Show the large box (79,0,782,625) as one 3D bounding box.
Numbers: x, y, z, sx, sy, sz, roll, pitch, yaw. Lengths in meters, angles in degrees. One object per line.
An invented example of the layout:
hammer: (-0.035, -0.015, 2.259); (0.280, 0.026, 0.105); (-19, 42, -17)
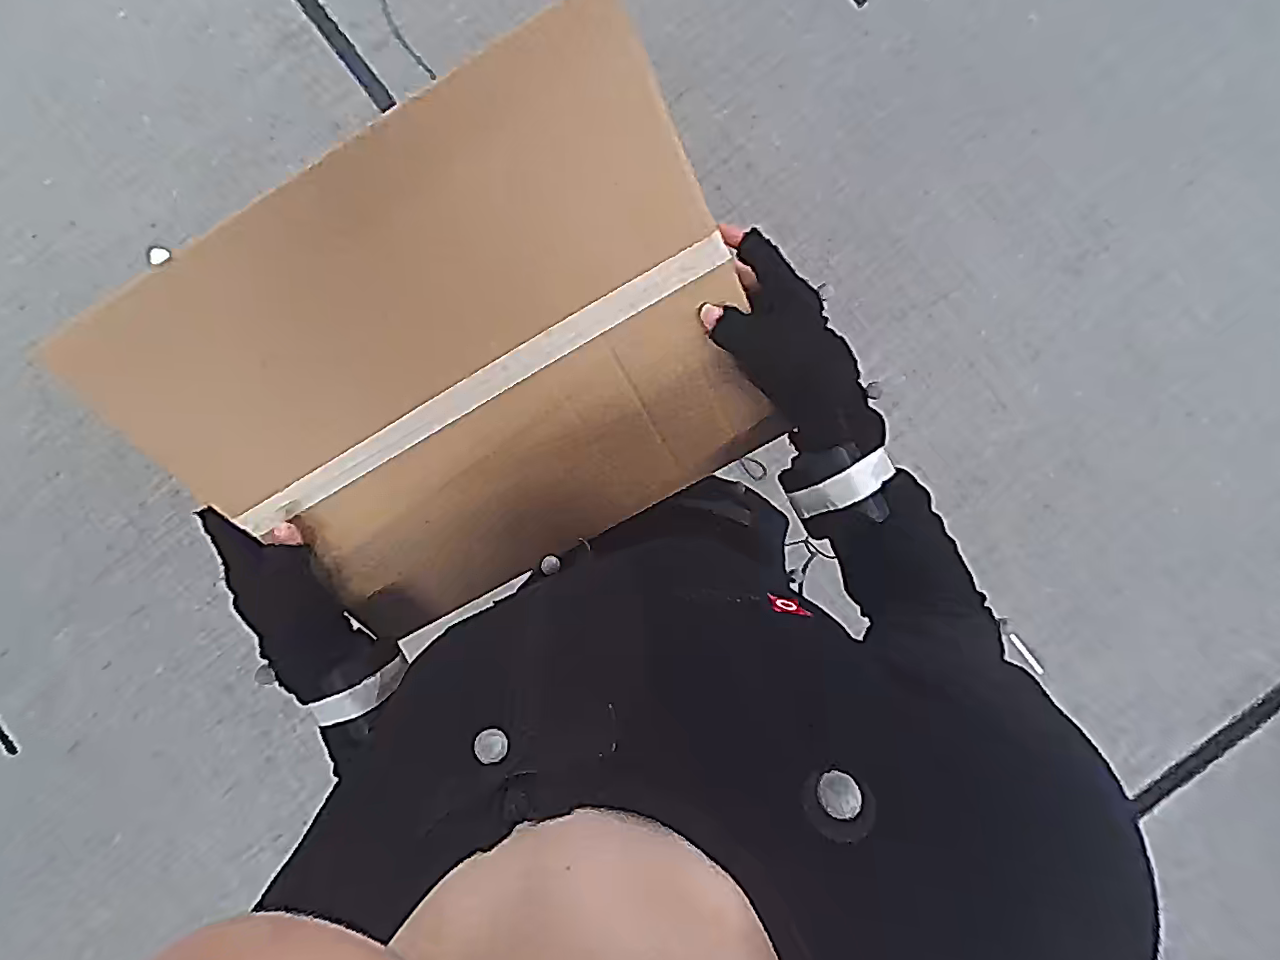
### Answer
large box: (-0.146, -0.142, 0.524); (0.408, 0.320, 0.320); (-29, 121, 7)
